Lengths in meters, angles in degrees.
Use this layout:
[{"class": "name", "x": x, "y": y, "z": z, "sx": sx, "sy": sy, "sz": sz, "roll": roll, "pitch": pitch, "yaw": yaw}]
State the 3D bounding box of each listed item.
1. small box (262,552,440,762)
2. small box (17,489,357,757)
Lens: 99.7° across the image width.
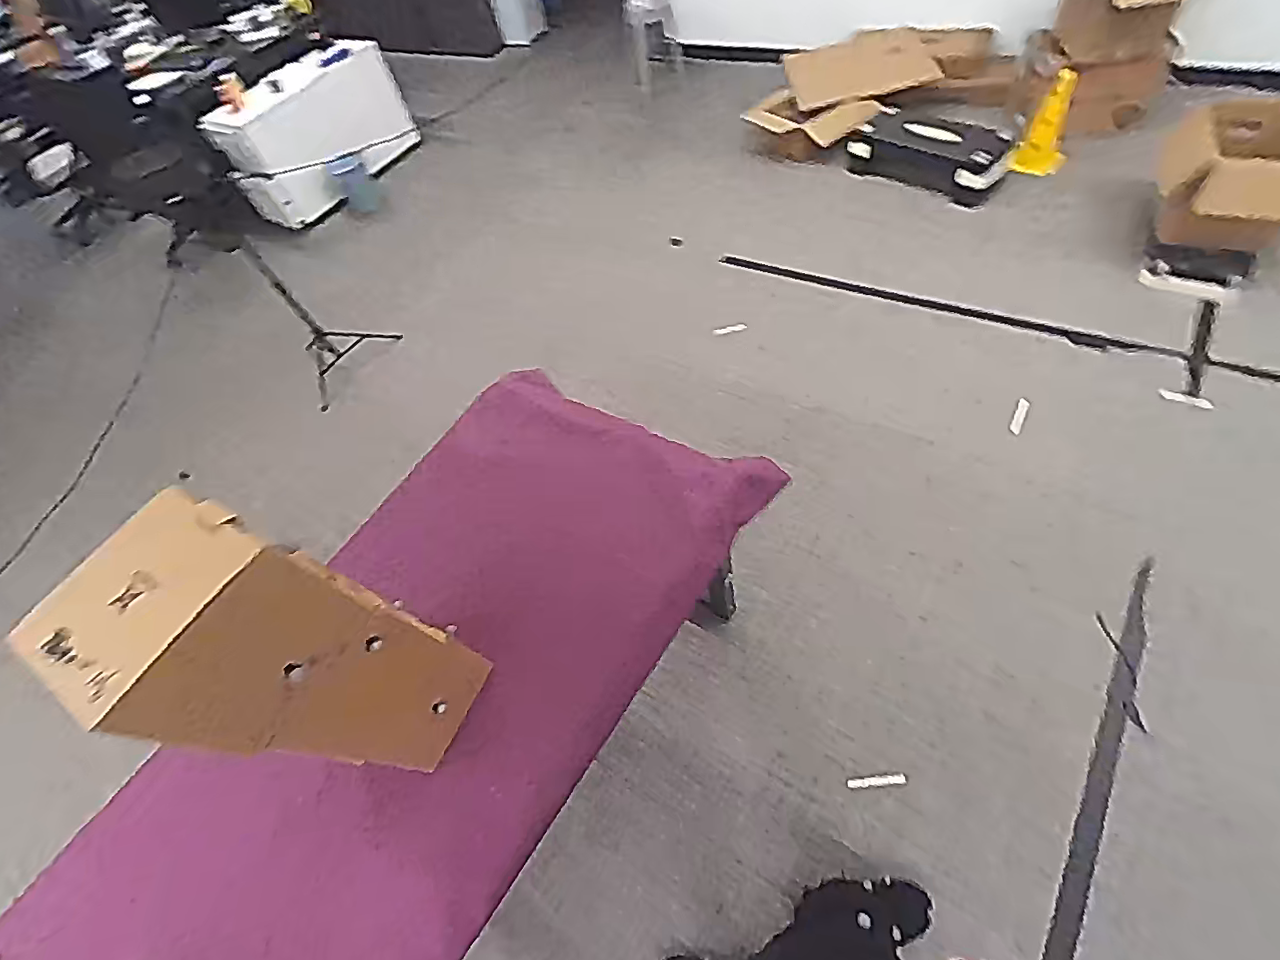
[{"class": "small box", "x": -0.392, "y": 0.227, "z": 0.681, "sx": 0.168, "sy": 0.176, "sz": 0.179, "roll": 21, "pitch": 64, "yaw": 24}, {"class": "small box", "x": -0.423, "y": 0.145, "z": 0.542, "sx": 0.168, "sy": 0.176, "sz": 0.179, "roll": 21, "pitch": 62, "yaw": 25}]
